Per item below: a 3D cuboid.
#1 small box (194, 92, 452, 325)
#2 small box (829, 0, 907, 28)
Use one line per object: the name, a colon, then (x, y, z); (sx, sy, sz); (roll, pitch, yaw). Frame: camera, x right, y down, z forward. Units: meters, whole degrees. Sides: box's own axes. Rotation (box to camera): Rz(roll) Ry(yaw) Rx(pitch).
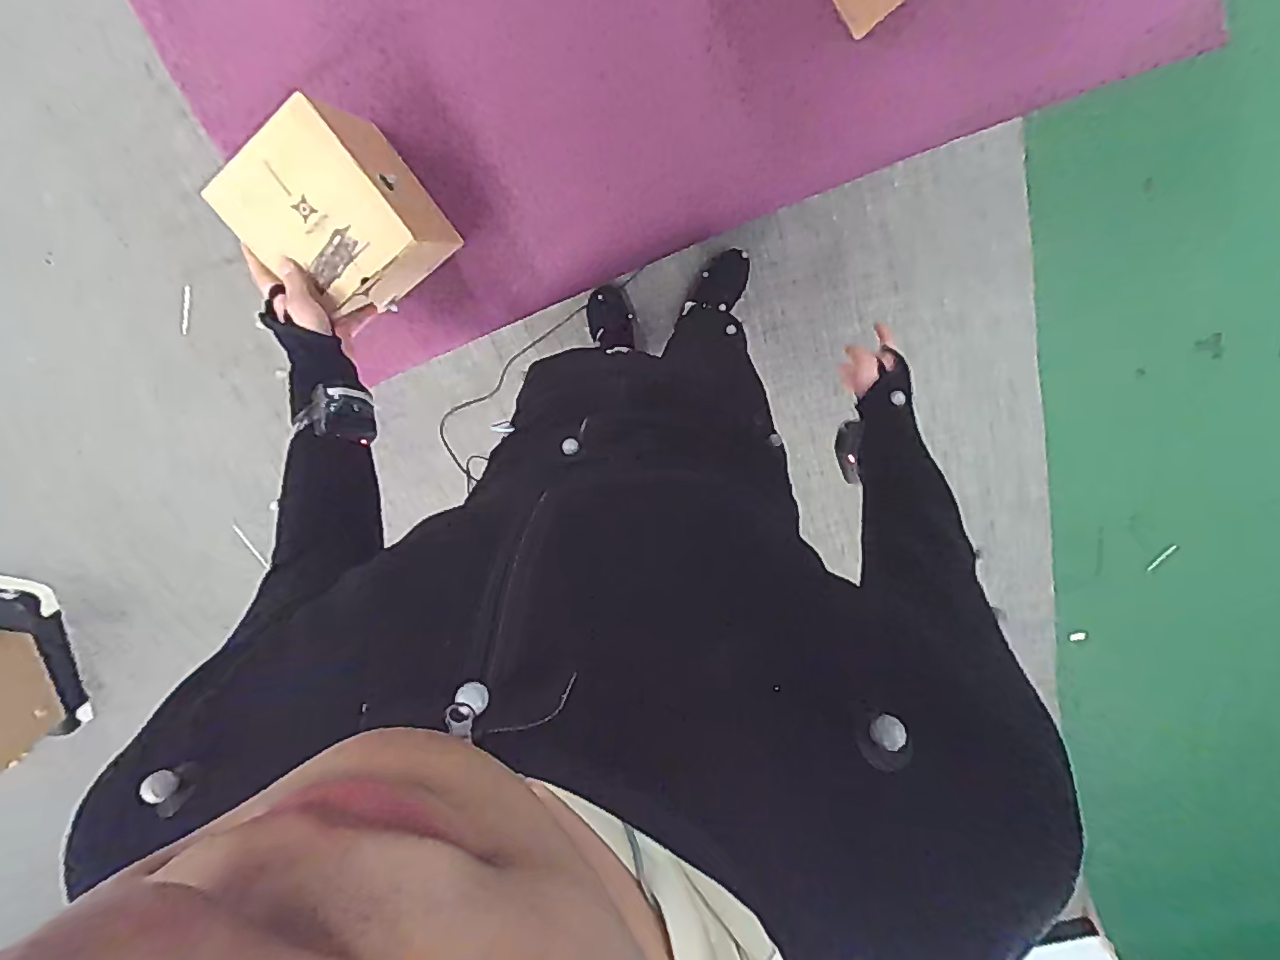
small box: (-0.366, -0.319, 0.663); (0.168, 0.176, 0.179); (-33, 108, 14)
small box: (0.264, -0.602, 0.536); (0.168, 0.176, 0.179); (-39, 108, 17)
